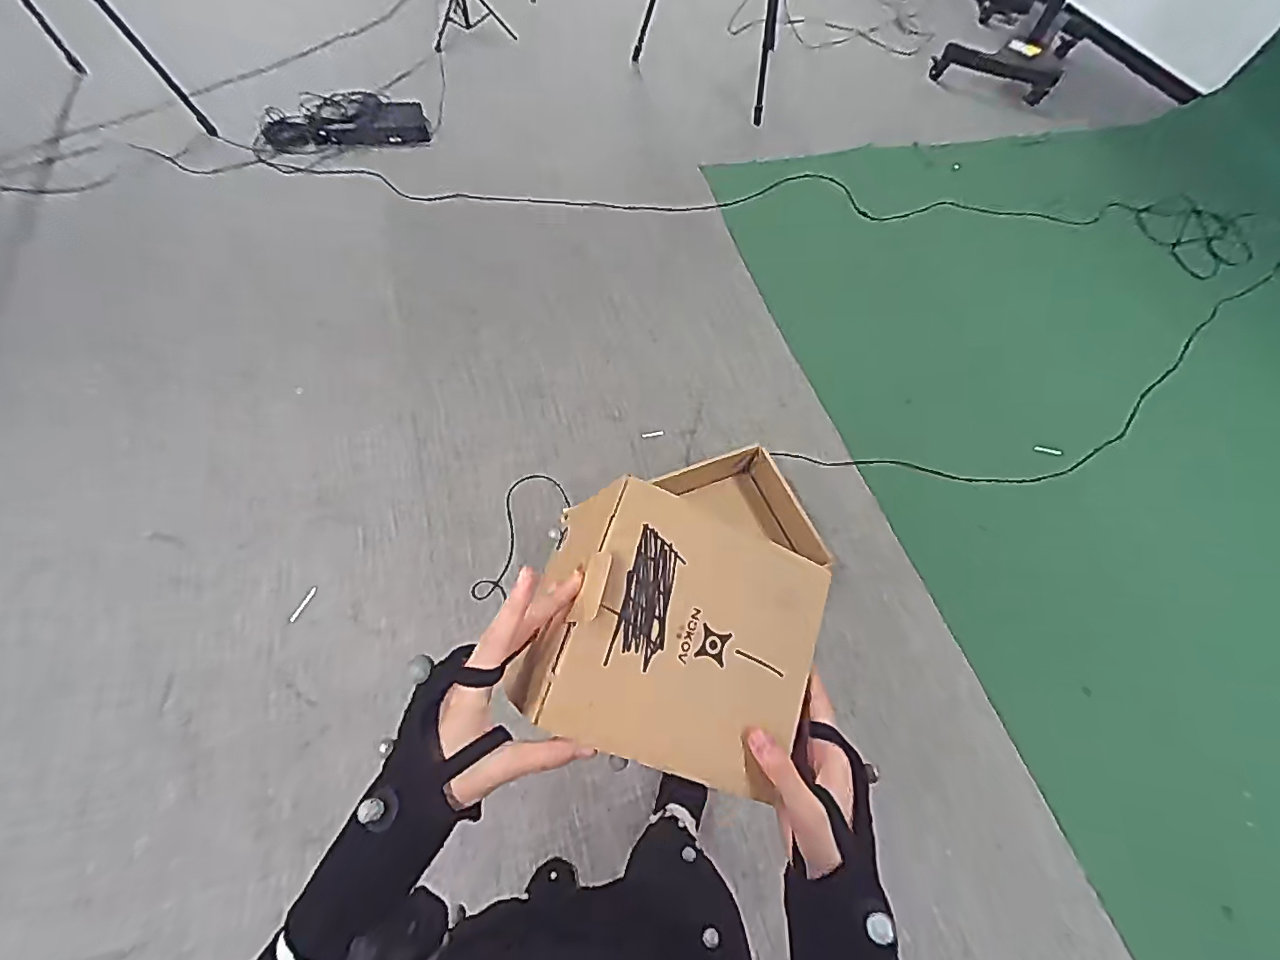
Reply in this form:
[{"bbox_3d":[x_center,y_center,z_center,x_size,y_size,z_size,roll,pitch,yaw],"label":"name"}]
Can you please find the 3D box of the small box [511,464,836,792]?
[{"bbox_3d":[0.016,0.112,0.427,0.179,0.176,0.168,26,70,-15],"label":"small box"}]
